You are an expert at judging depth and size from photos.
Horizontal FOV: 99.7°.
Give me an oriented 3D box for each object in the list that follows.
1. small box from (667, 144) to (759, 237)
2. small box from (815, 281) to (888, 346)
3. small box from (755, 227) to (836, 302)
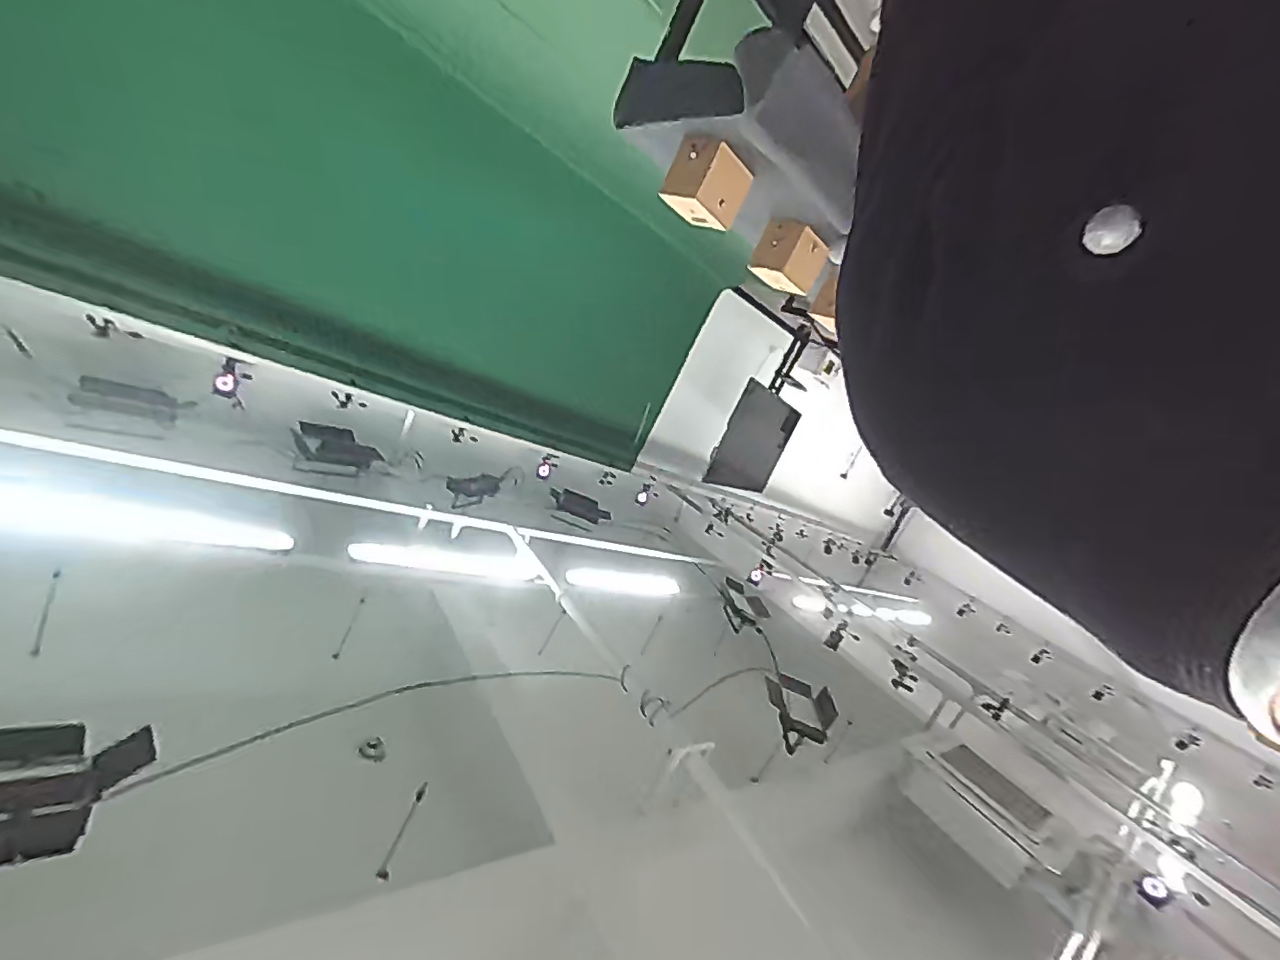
[{"bbox_3d":[0.218,-0.851,1.590,0.179,0.176,0.168,17,-166,-47],"label":"small box"},{"bbox_3d":[0.818,-0.644,2.078,0.168,0.176,0.179,23,-167,-33],"label":"small box"},{"bbox_3d":[0.537,-0.745,1.861,0.179,0.176,0.168,19,-166,-43],"label":"small box"}]
